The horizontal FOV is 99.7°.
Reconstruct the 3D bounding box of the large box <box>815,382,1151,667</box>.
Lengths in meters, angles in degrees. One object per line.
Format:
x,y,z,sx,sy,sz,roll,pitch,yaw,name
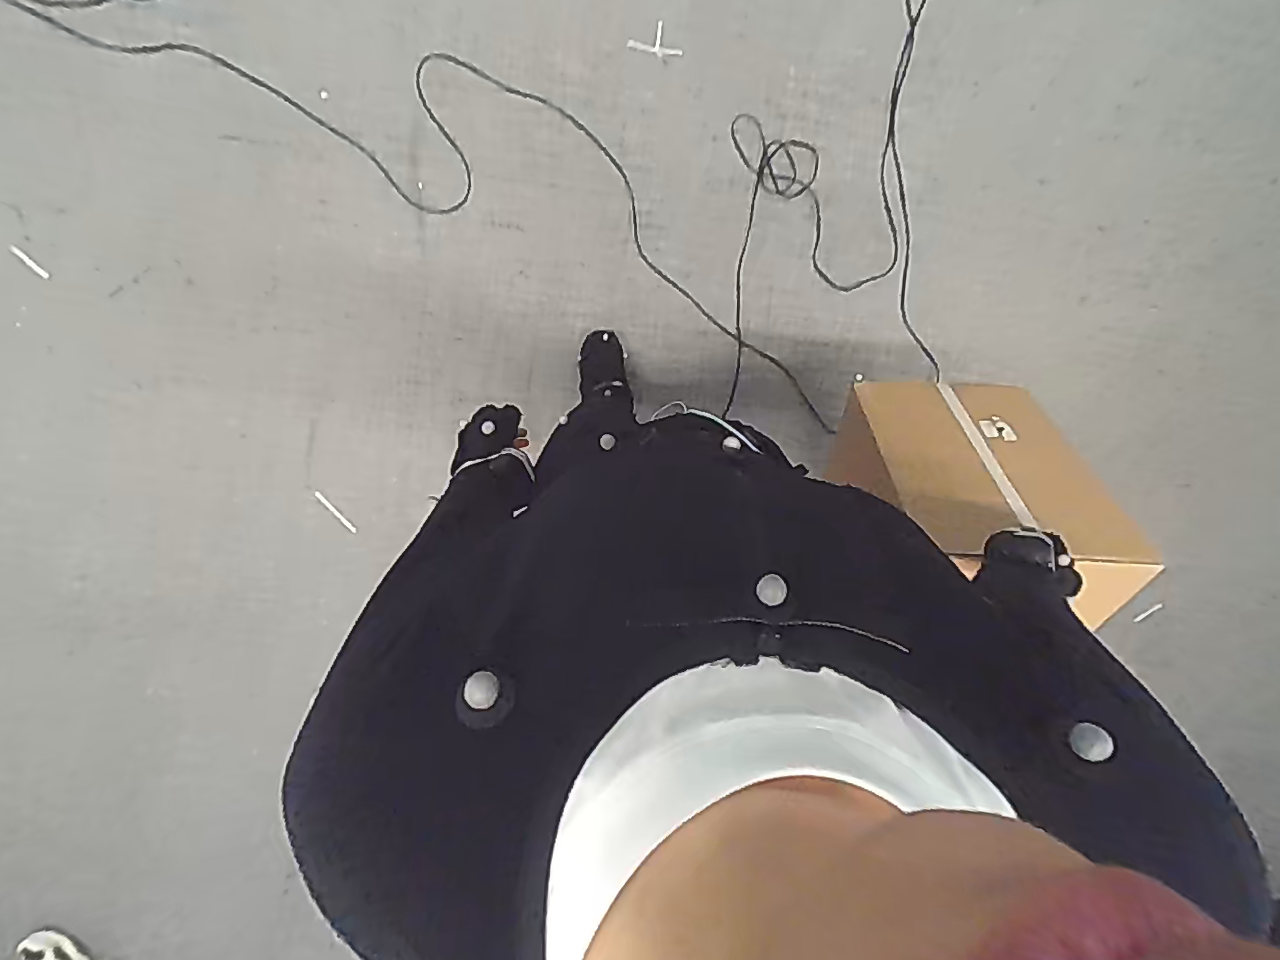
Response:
0.528,0.072,0.955,0.320,0.408,0.320,3,133,1,large box
